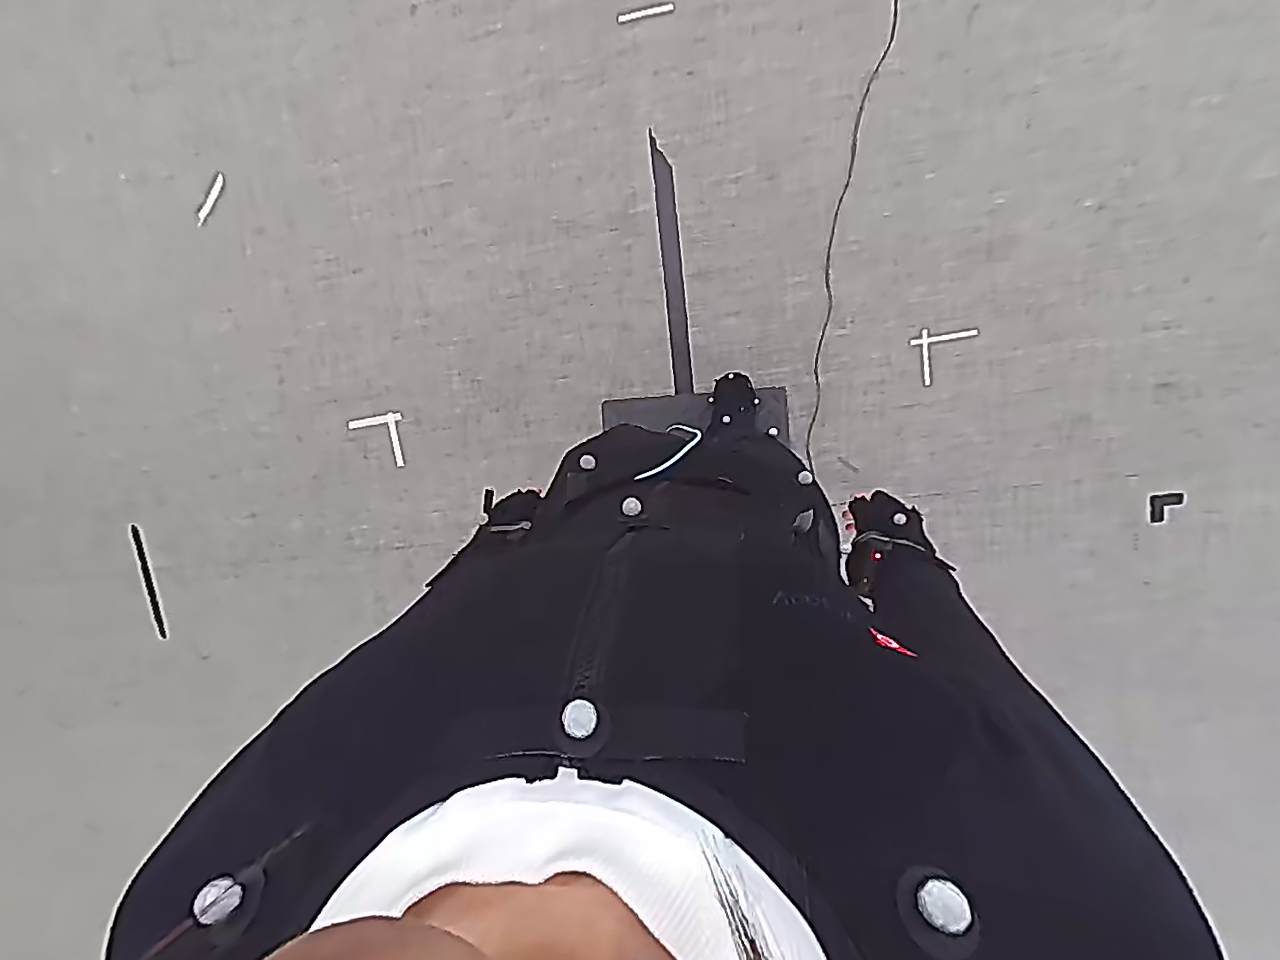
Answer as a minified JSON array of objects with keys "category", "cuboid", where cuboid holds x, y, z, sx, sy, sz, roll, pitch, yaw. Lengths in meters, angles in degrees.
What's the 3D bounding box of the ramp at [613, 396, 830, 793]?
[{"category":"ramp","cuboid":[0.196,0.296,1.417,0.509,0.206,0.991,-6,95,11]}]
